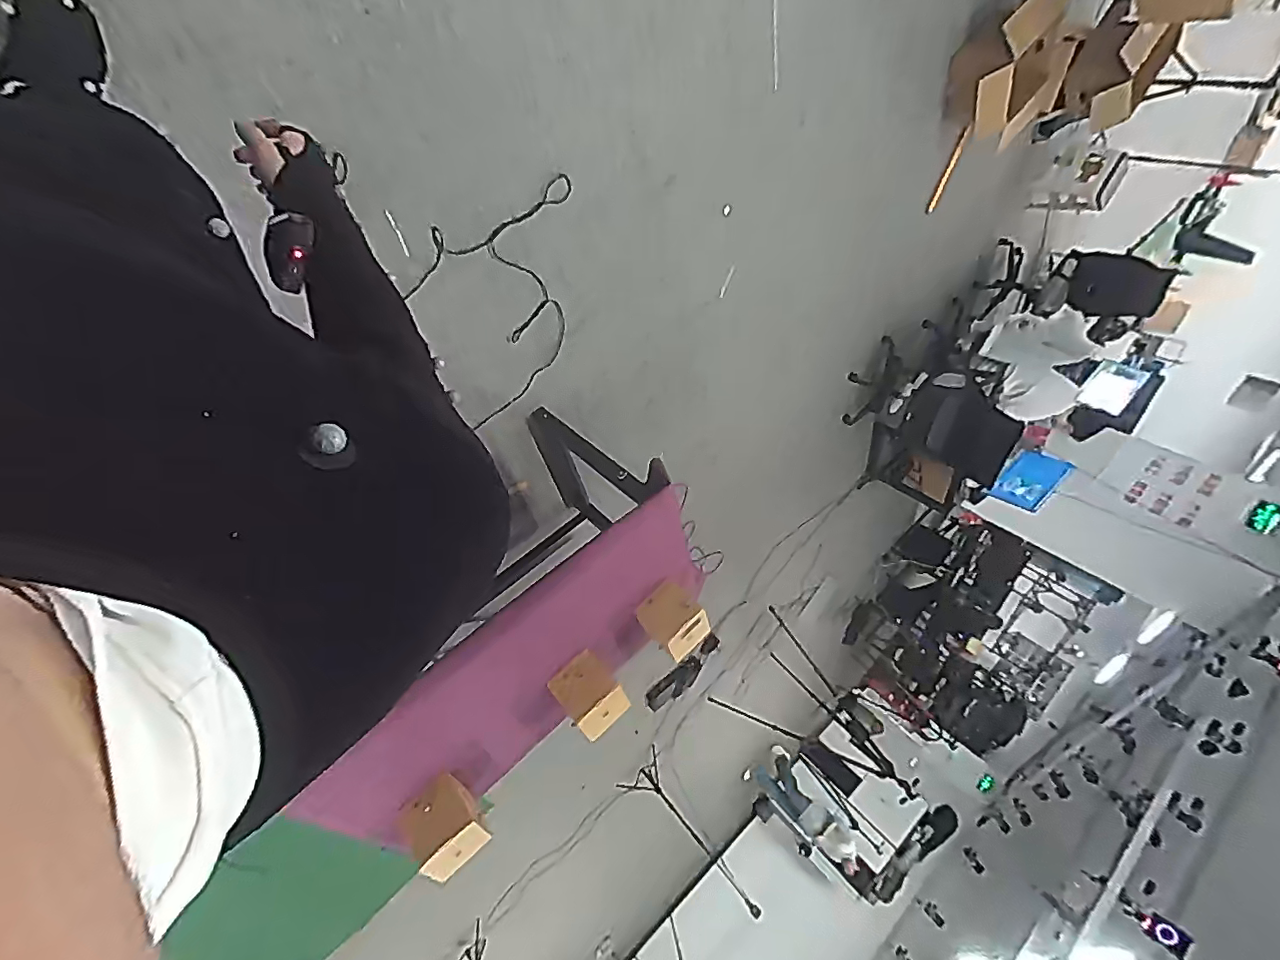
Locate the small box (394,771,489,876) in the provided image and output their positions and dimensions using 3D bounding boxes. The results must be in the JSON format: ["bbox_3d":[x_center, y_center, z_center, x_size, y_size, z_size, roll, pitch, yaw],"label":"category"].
[{"bbox_3d":[-0.556,0.960,1.520,0.168,0.176,0.179,-35,139,-23],"label":"small box"}]

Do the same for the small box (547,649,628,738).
[{"bbox_3d":[-0.164,0.665,1.695,0.168,0.176,0.179,-37,140,-18],"label":"small box"}]
